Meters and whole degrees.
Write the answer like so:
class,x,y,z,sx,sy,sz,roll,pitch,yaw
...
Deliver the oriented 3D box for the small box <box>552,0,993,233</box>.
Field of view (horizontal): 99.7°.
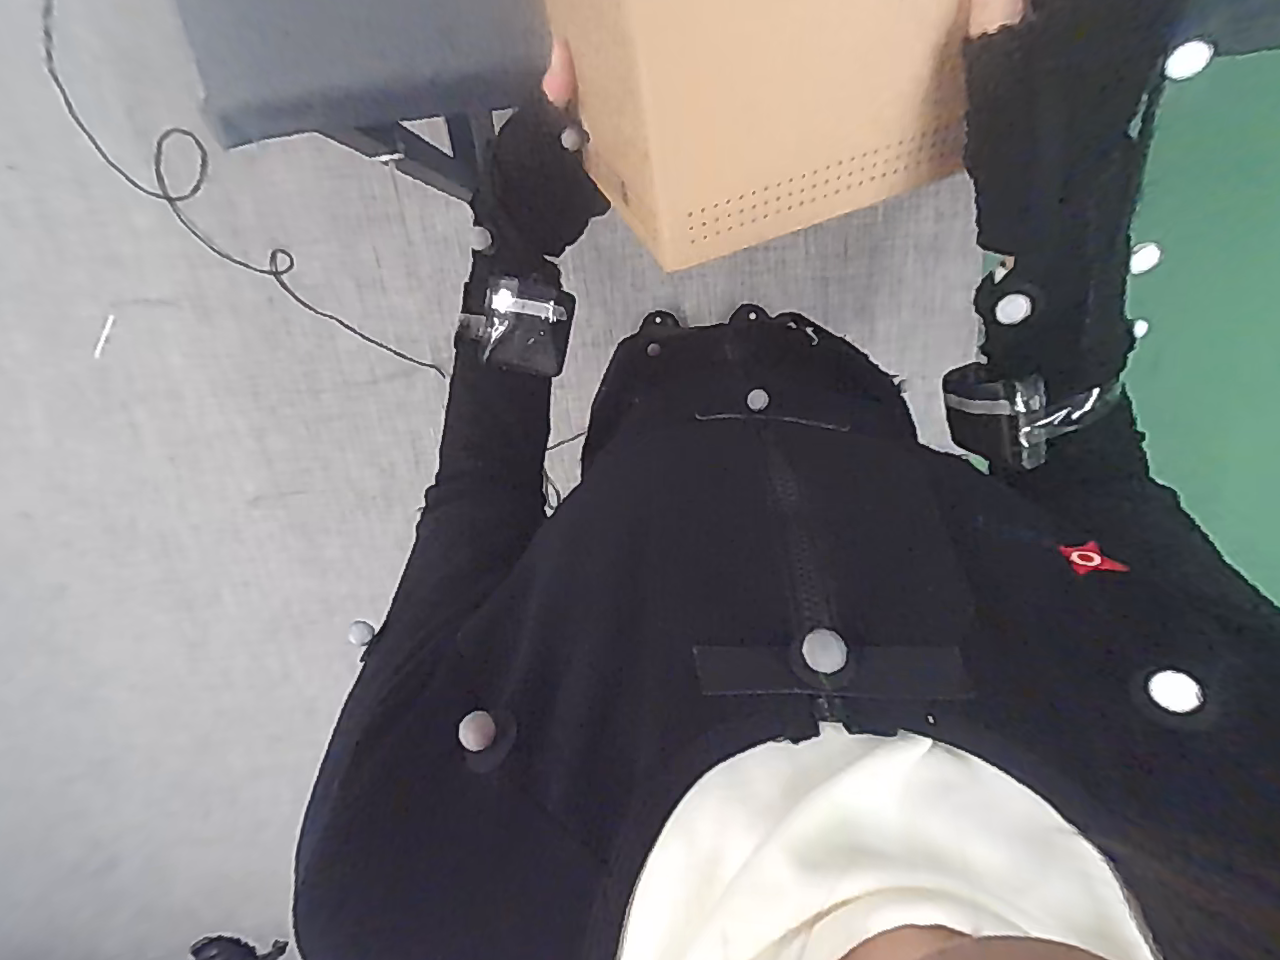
class,x,y,z,sx,sy,sz,roll,pitch,yaw
small box,0.053,-0.249,0.264,0.179,0.168,0.176,-21,141,-6
